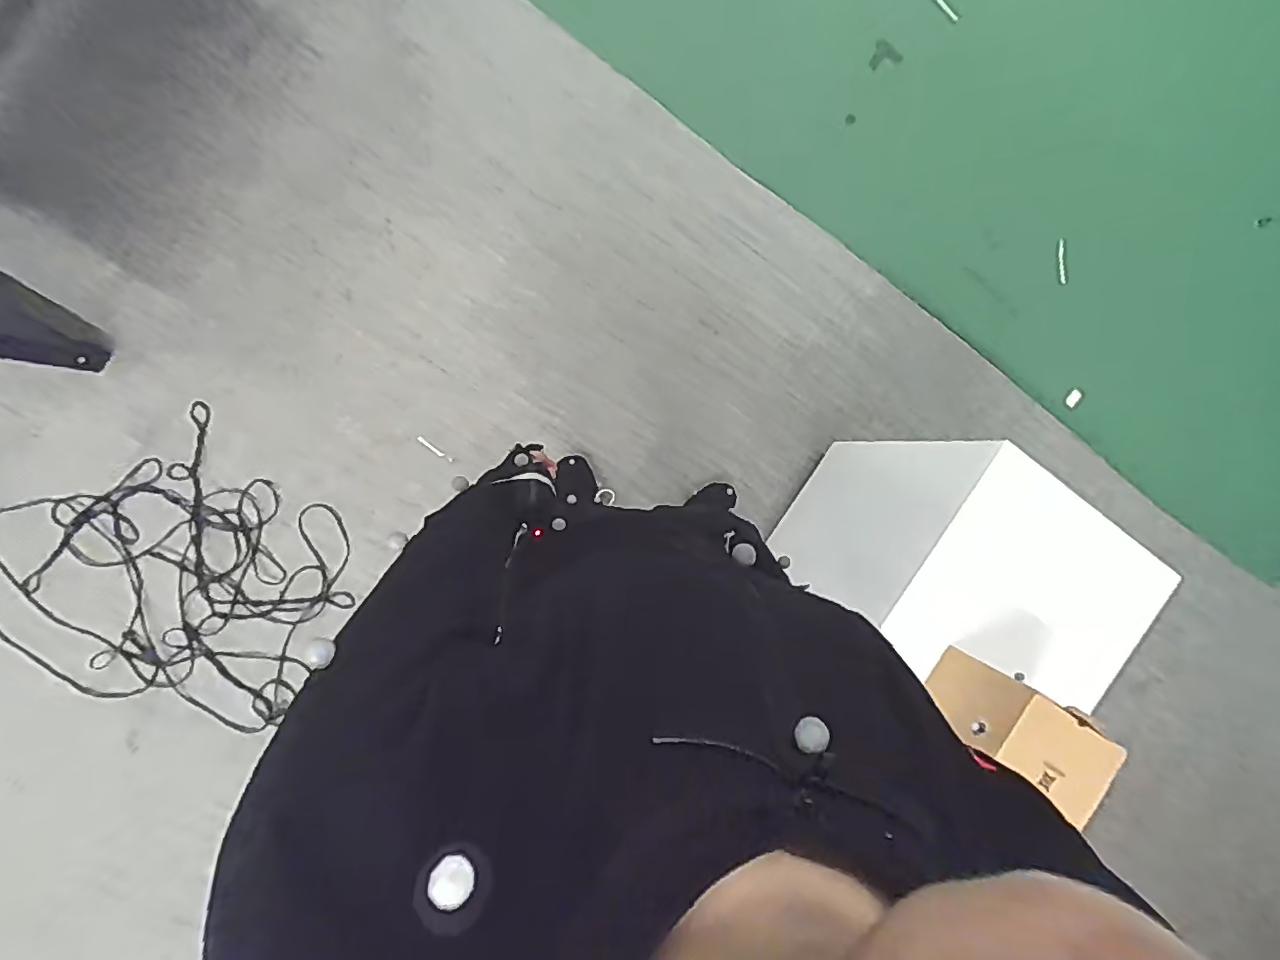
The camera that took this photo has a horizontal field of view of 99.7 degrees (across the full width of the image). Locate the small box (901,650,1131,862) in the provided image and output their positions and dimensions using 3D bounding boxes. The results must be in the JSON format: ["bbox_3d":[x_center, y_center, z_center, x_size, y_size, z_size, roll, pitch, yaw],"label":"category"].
[{"bbox_3d":[0.512,0.372,0.764,0.168,0.176,0.179,33,90,-7],"label":"small box"}]
